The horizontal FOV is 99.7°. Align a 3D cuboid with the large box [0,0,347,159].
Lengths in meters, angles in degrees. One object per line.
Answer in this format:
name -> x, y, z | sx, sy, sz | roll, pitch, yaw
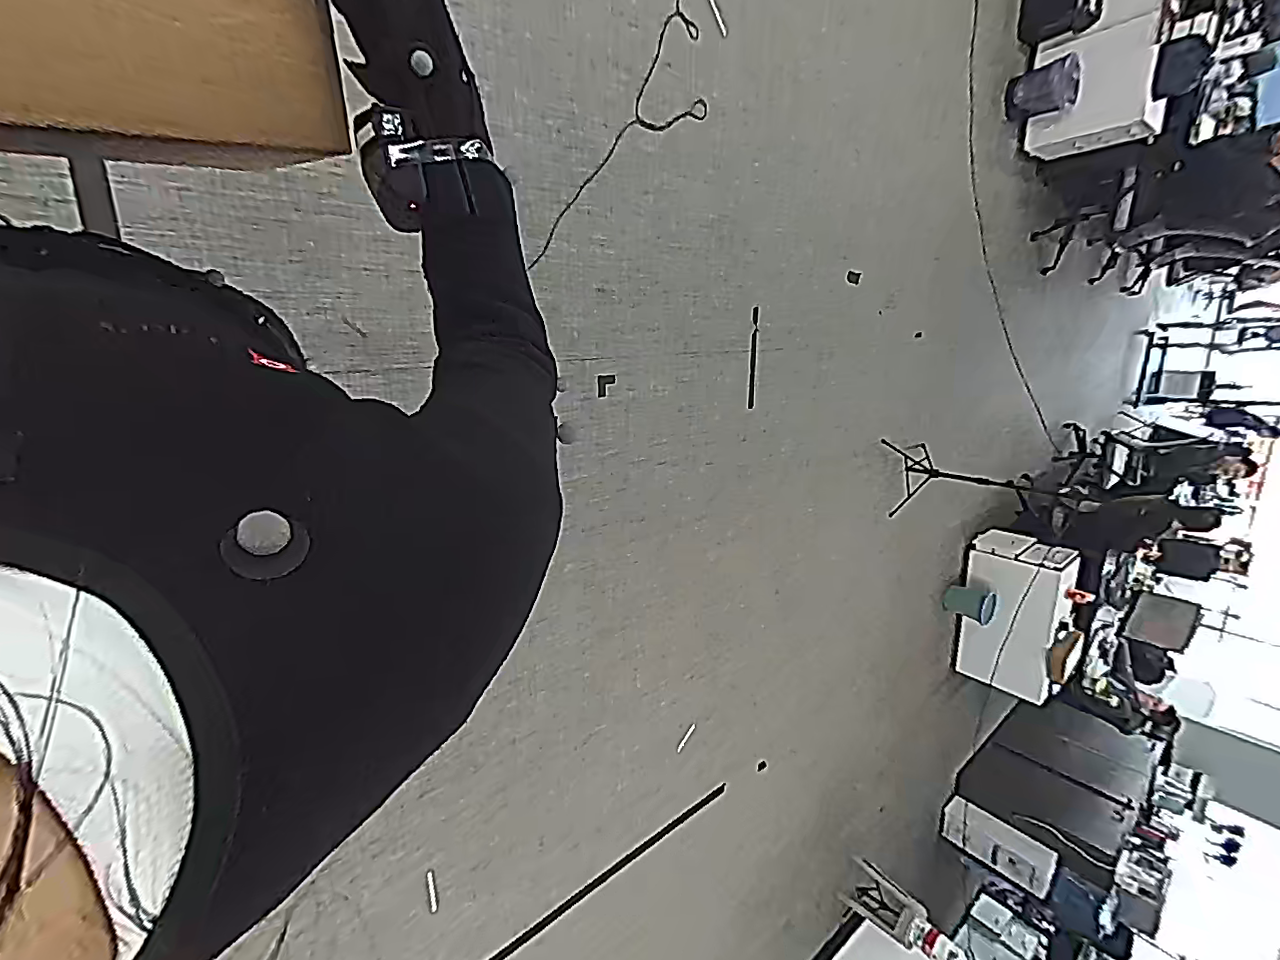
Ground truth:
large box -> -0.453, -0.374, 0.302 | 0.408, 0.320, 0.320 | -20, 125, -37
